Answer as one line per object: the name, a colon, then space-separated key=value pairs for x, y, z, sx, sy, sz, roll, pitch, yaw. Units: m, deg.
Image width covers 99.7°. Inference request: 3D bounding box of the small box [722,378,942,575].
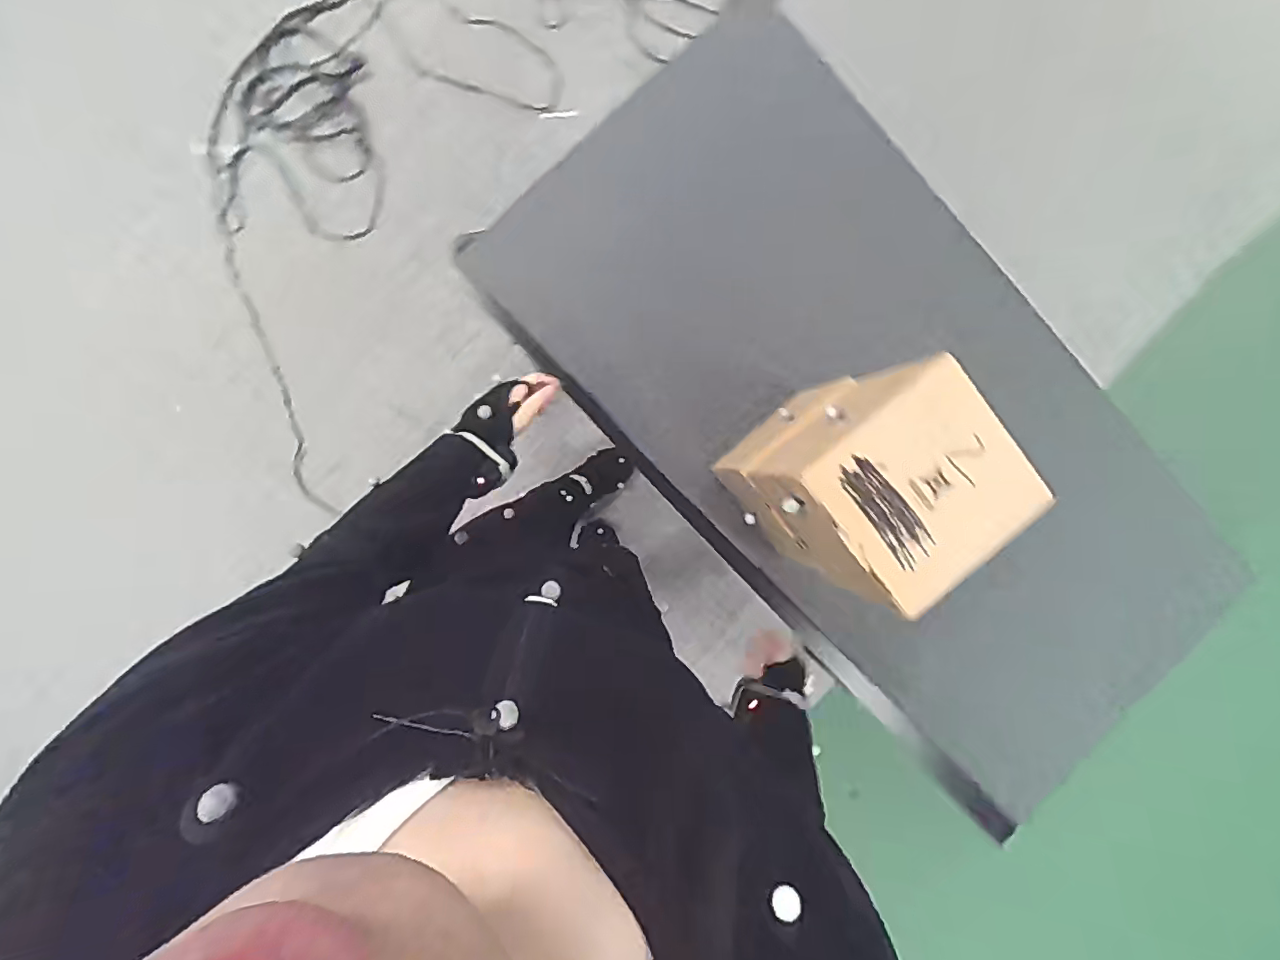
small box: x=0.233 y=-0.007 z=0.703 sx=0.179 sy=0.176 sz=0.168 roll=-39 pitch=94 yaw=-2
